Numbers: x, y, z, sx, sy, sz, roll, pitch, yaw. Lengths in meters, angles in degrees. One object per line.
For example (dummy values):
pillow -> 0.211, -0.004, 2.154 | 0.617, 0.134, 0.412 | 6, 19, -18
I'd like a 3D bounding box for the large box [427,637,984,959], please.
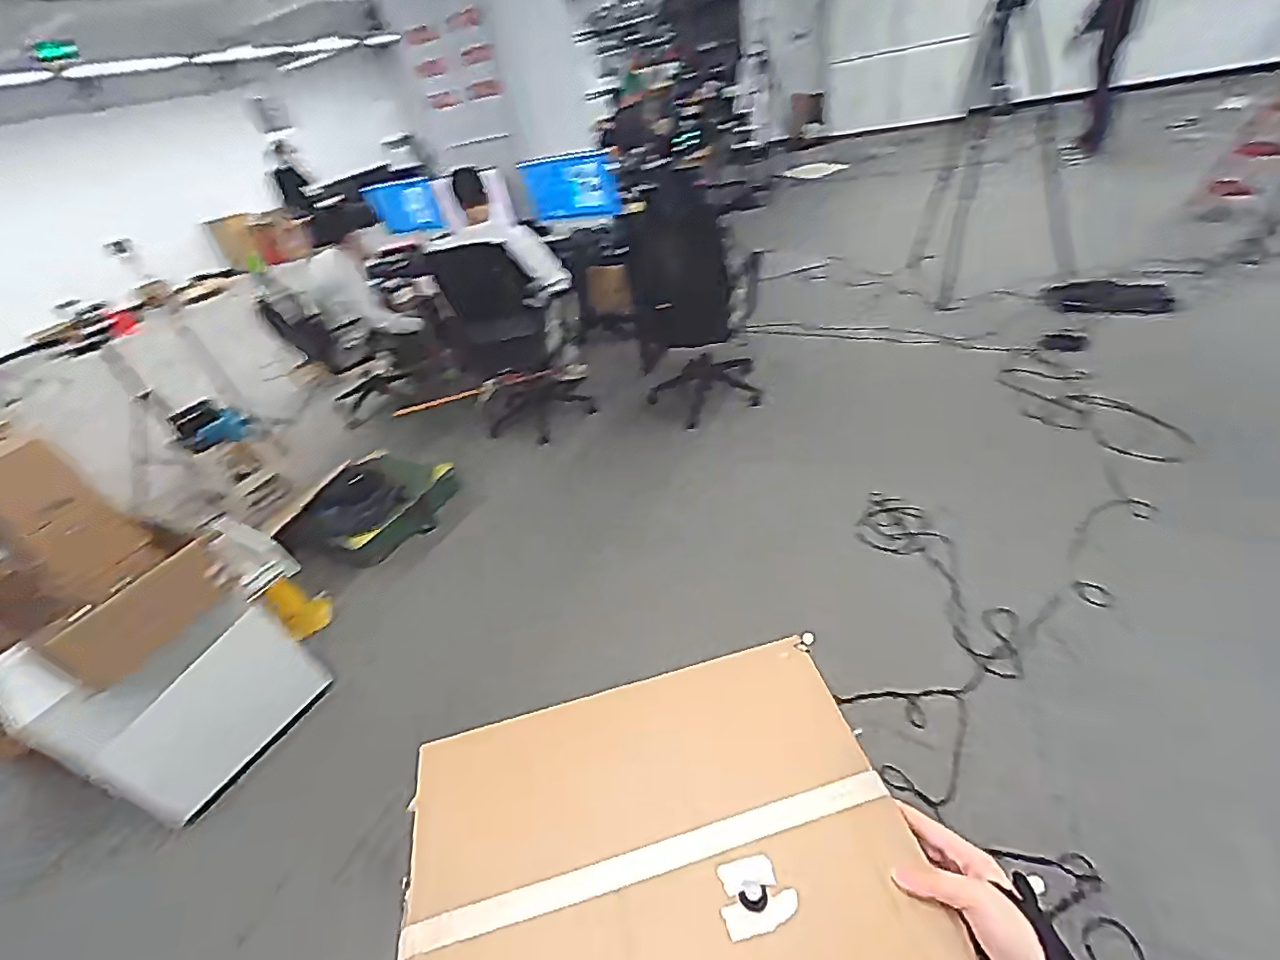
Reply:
large box -> 0.036, 0.422, 0.550 | 0.408, 0.320, 0.320 | -12, 40, -6
